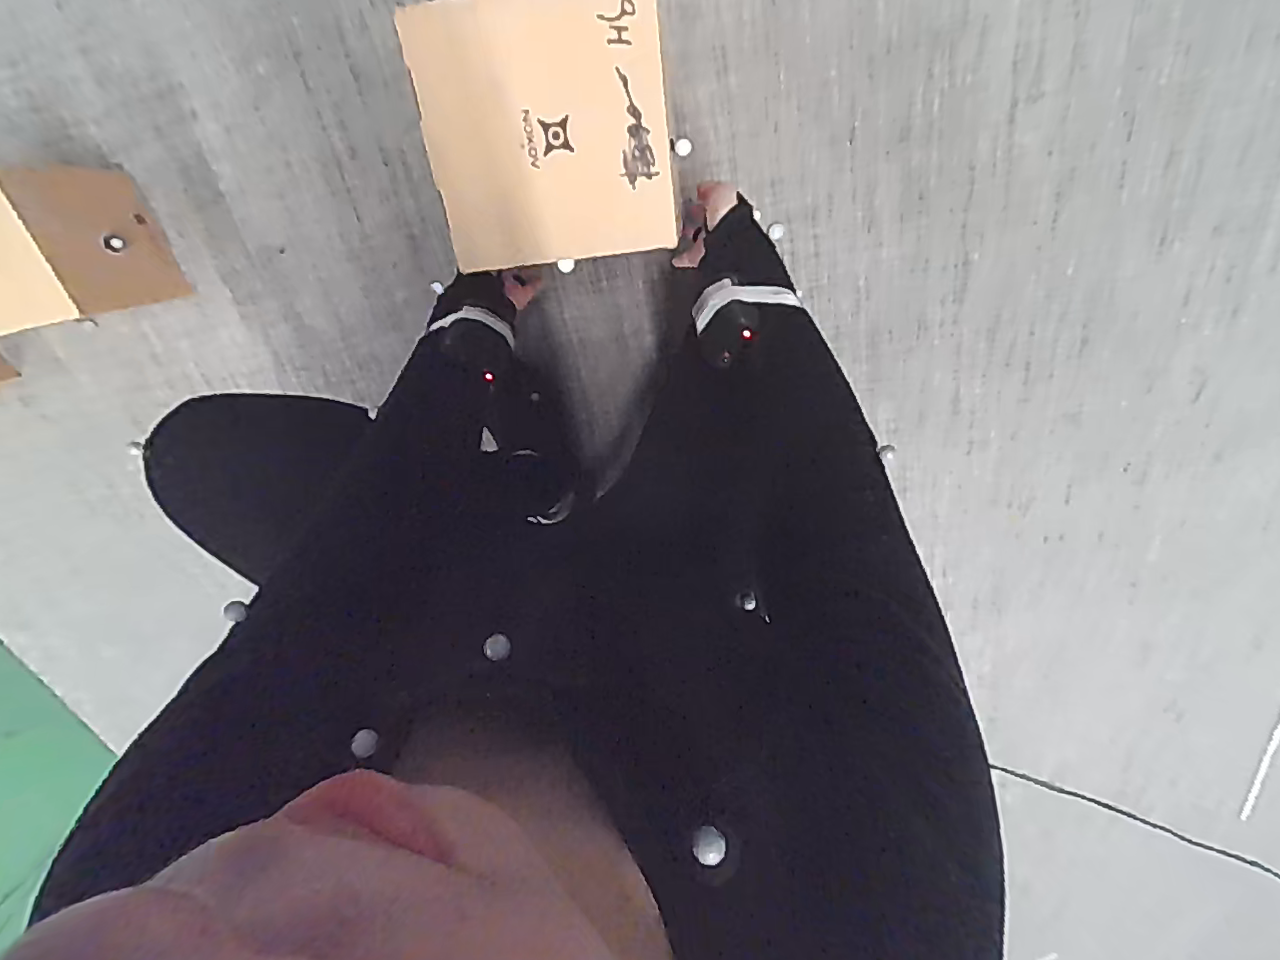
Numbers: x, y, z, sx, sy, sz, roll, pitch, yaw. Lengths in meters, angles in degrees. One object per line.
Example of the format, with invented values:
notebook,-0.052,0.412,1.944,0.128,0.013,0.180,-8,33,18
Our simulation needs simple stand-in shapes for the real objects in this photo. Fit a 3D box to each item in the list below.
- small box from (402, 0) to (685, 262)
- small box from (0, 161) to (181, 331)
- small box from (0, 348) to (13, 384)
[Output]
small box,-0.057,-0.284,0.452,0.179,0.176,0.168,-3,117,8
small box,-0.754,-0.301,0.699,0.179,0.176,0.168,-7,115,9
small box,-1.121,-0.182,0.798,0.179,0.176,0.168,-19,114,14
